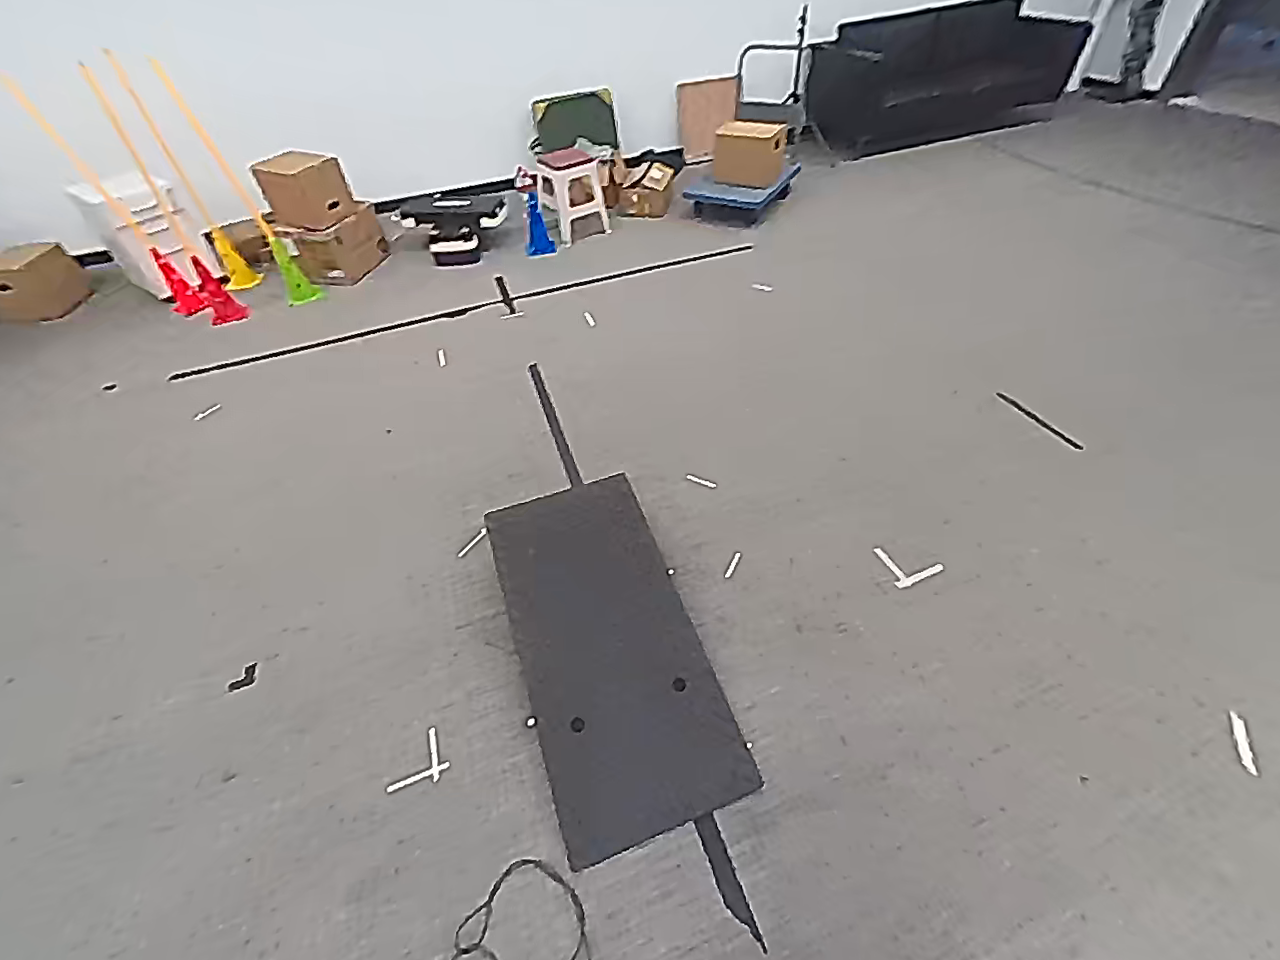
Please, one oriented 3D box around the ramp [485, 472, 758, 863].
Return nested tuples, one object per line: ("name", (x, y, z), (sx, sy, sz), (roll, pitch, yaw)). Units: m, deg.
("ramp", (-0.101, 0.426, 1.545), (0.509, 0.206, 0.991), (-18, 47, -14))
